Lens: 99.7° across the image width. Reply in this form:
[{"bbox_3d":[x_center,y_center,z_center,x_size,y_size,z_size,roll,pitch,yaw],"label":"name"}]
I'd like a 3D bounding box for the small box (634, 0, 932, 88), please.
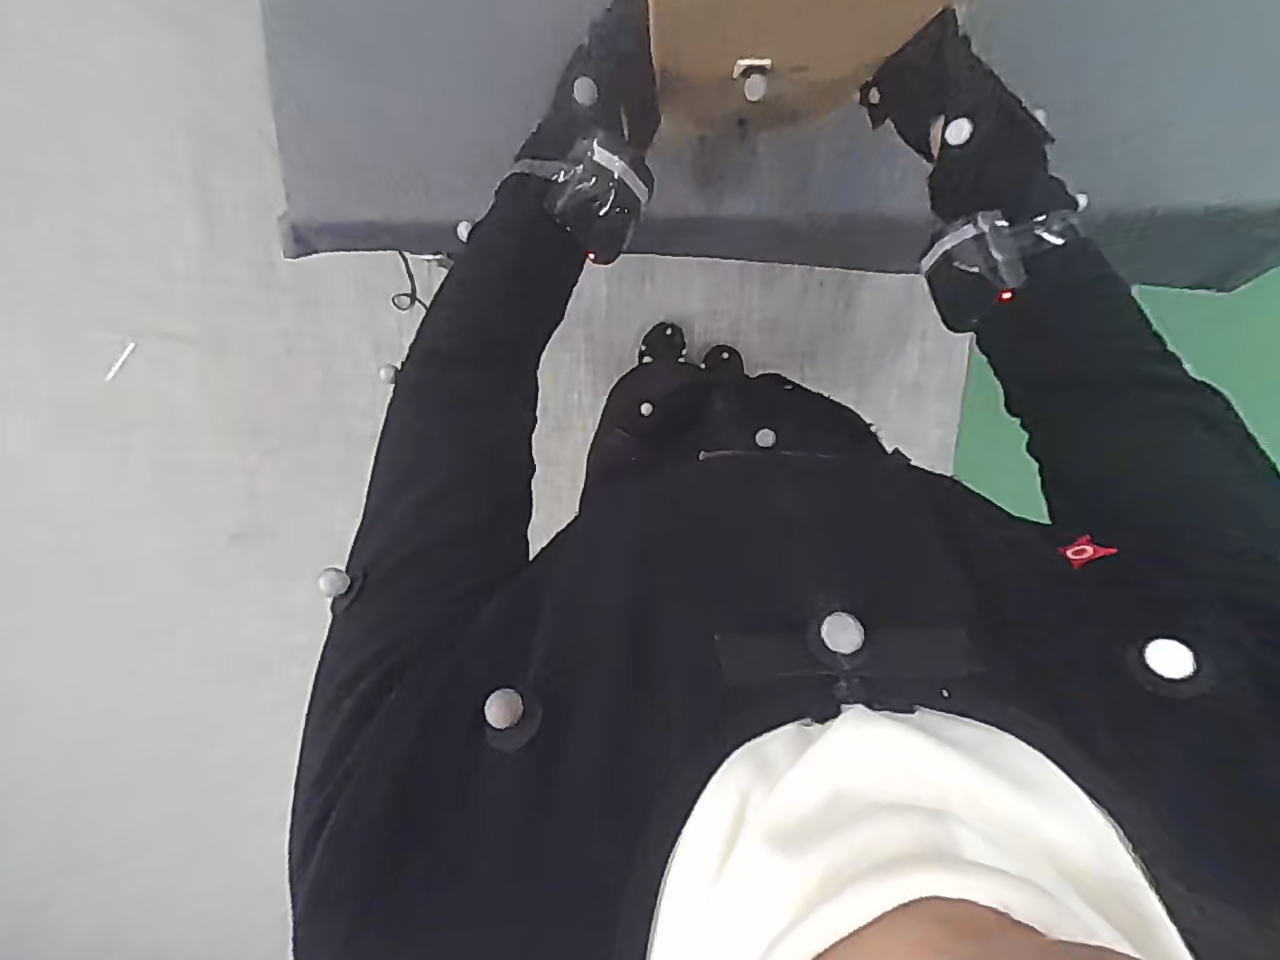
[{"bbox_3d":[0.077,-0.352,0.301,0.168,0.176,0.179,-1,111,4],"label":"small box"}]

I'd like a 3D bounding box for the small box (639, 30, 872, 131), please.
[{"bbox_3d":[0.086,-0.409,0.454,0.179,0.176,0.168,-1,110,2],"label":"small box"}]
